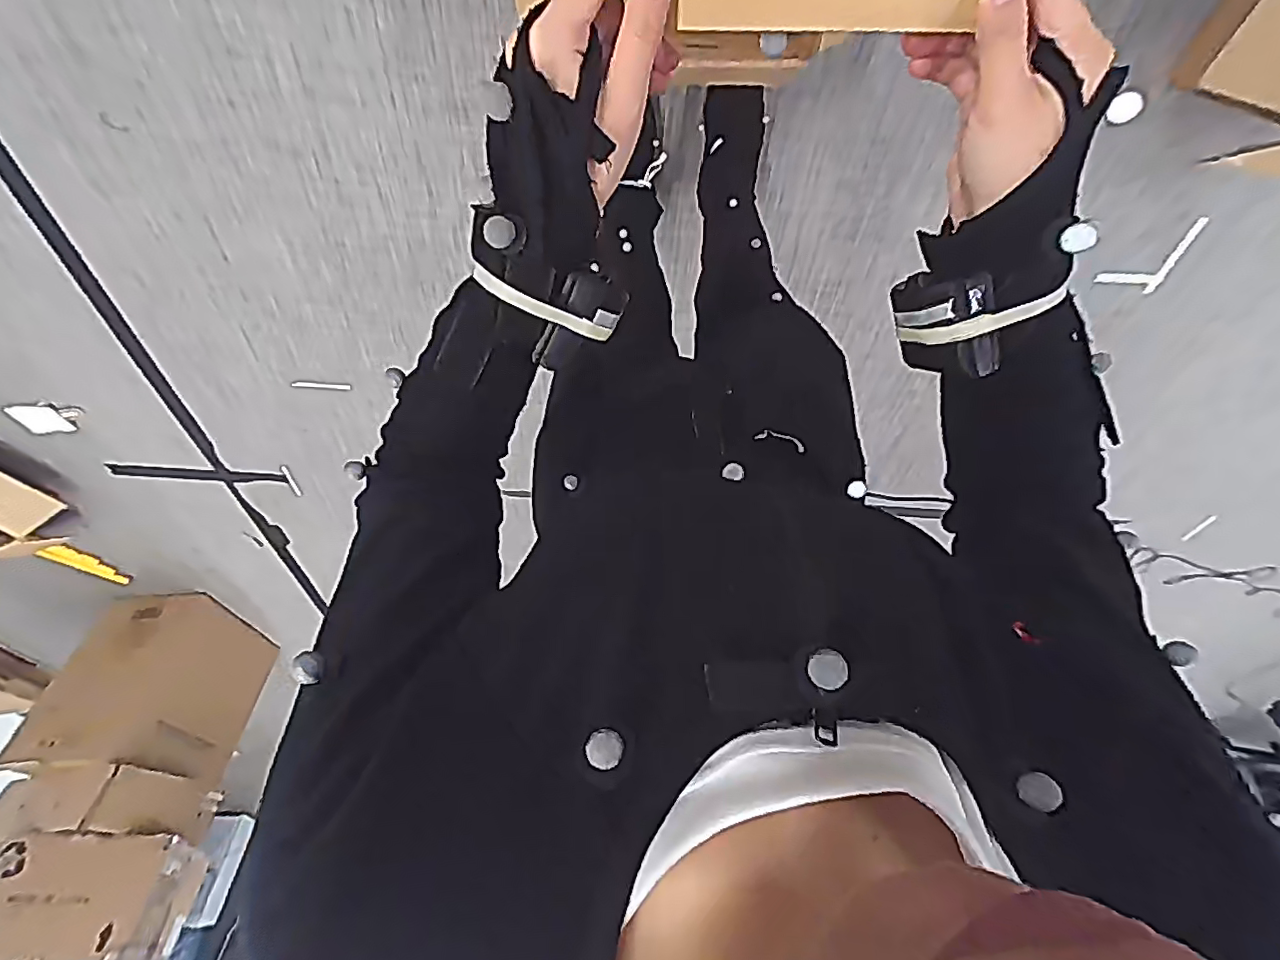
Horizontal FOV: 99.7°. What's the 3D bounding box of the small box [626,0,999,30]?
[{"bbox_3d":[0.078,-0.328,0.244,0.179,0.176,0.168,-2,140,-2],"label":"small box"}]
